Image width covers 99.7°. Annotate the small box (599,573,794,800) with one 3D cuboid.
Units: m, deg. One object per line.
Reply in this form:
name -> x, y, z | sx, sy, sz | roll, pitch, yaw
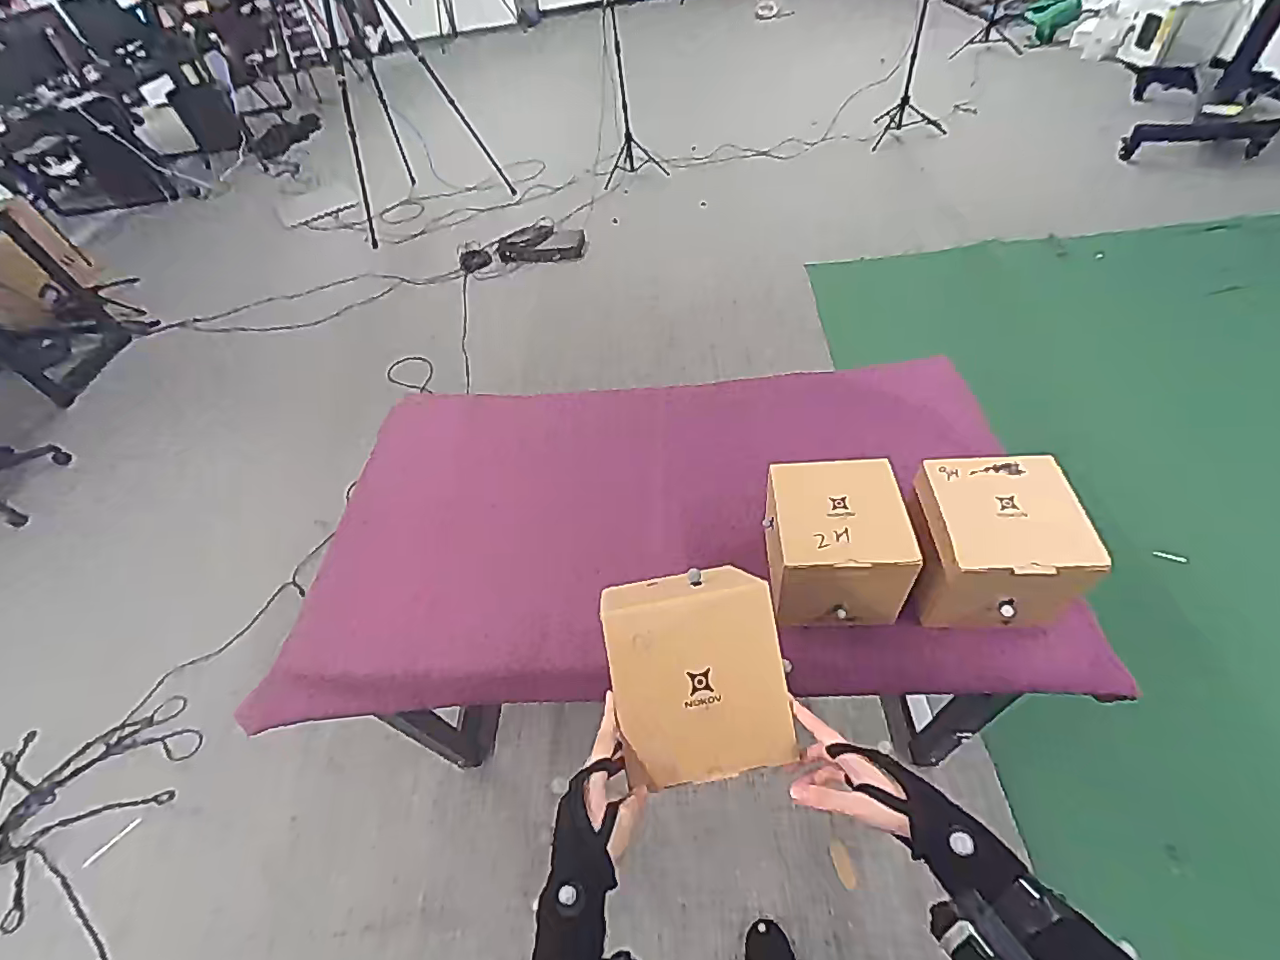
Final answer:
small box -> 0.048, 0.202, 0.587 | 0.168, 0.176, 0.179 | -10, 89, -3
